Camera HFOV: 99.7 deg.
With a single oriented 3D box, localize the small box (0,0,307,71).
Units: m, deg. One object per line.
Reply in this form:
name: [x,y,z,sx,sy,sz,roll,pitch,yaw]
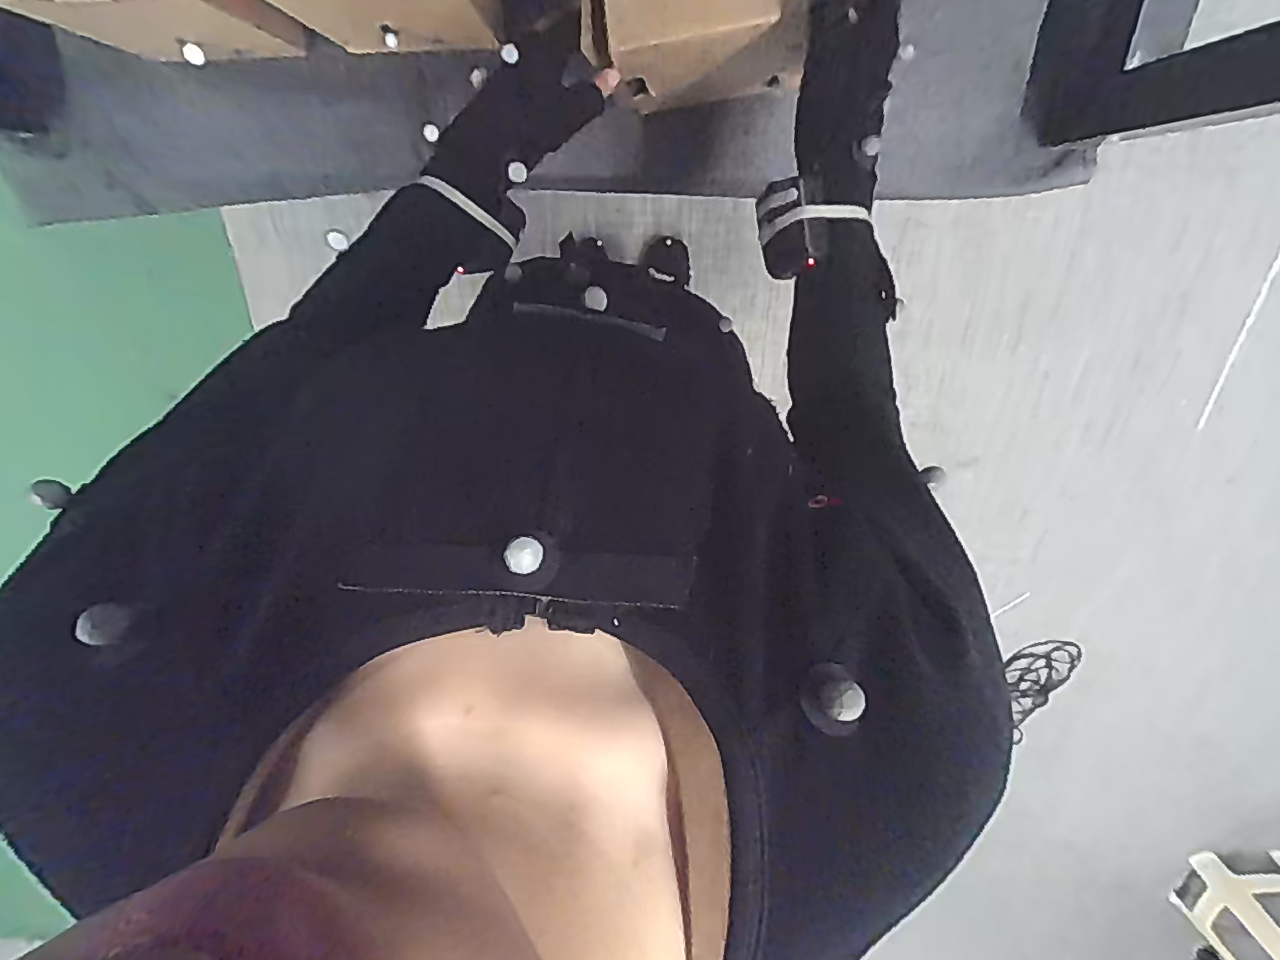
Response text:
small box: [-0.427,-0.480,0.460,0.168,0.176,0.179,-1,114,2]
